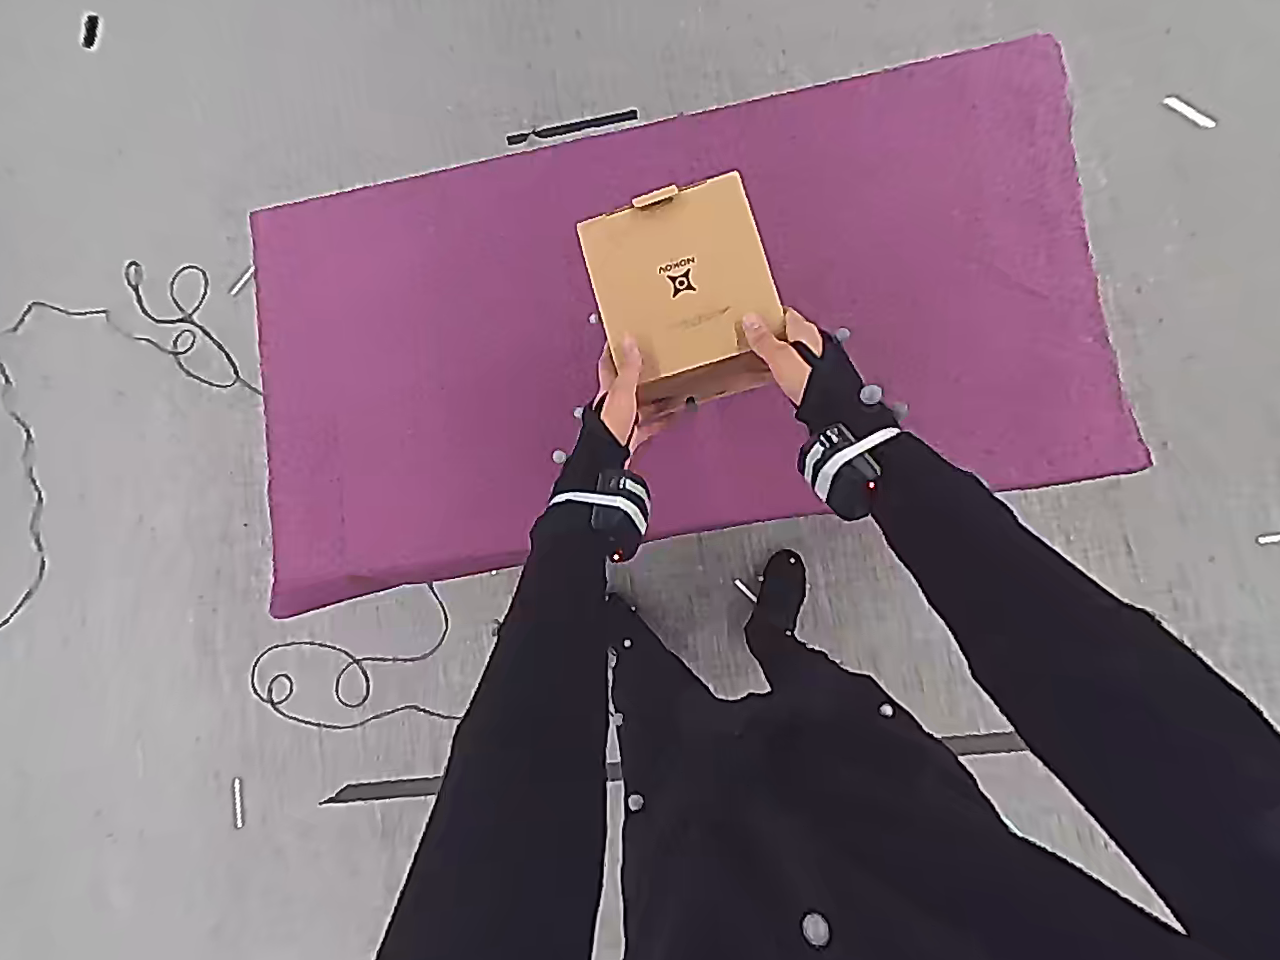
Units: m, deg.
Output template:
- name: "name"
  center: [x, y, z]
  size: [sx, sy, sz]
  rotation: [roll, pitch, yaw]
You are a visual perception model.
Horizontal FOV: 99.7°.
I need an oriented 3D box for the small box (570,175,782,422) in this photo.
- name: "small box"
  center: [0.038, -0.178, 0.584]
  size: [0.168, 0.176, 0.179]
  rotation: [-16, 84, 5]
